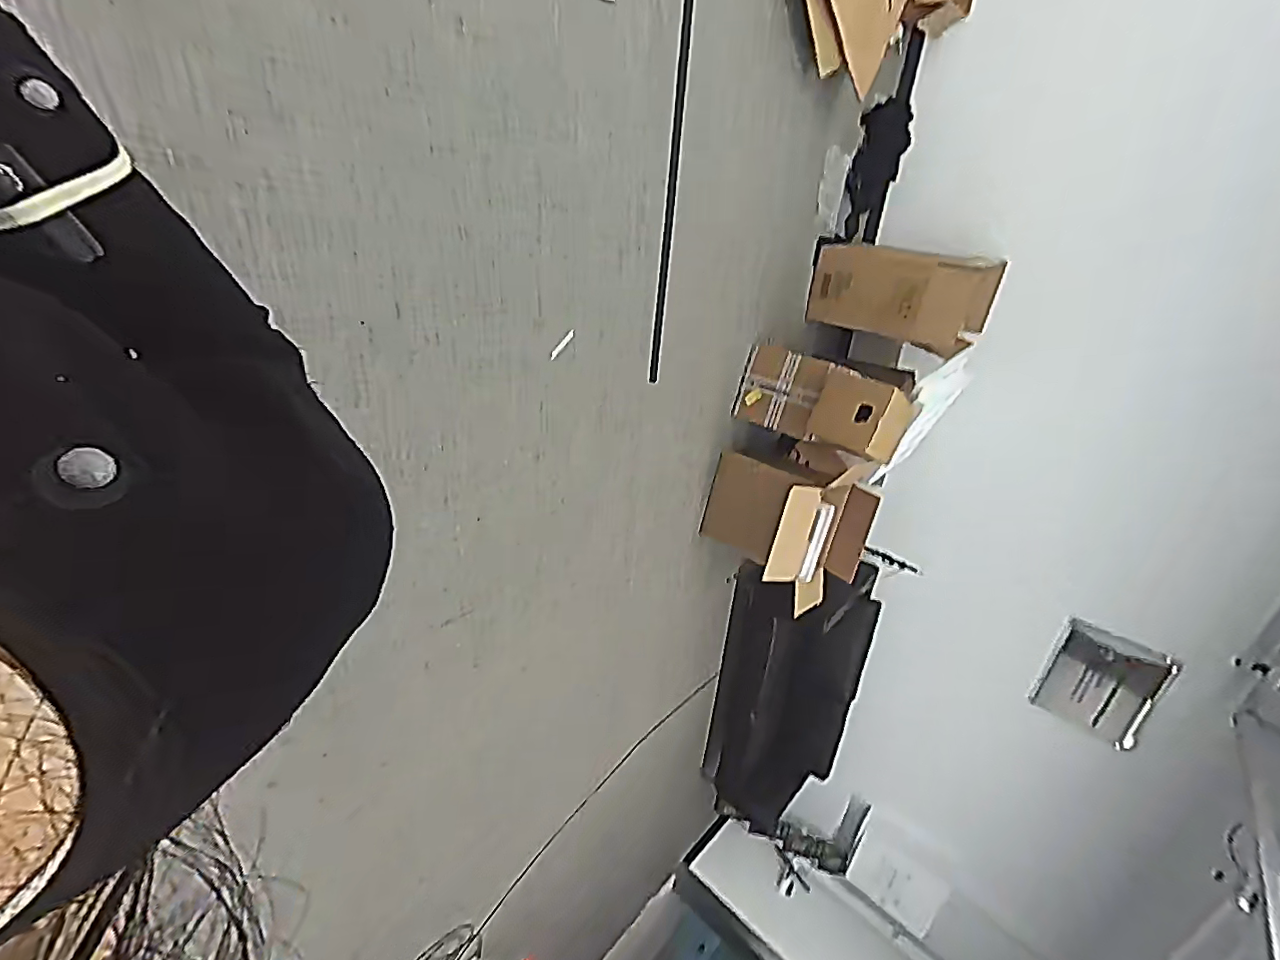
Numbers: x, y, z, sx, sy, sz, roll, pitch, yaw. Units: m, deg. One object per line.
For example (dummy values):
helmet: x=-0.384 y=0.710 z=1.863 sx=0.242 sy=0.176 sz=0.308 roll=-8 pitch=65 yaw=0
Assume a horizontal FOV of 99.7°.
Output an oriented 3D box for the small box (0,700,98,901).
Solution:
small box: x=-0.624 y=0.326 z=0.476 sx=0.168 sy=0.176 sz=0.179 roll=-19 pitch=124 yaw=-44

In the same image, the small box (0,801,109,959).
small box: x=-0.503 y=0.378 z=0.377 sx=0.168 sy=0.176 sz=0.179 roll=-23 pitch=125 yaw=-44
